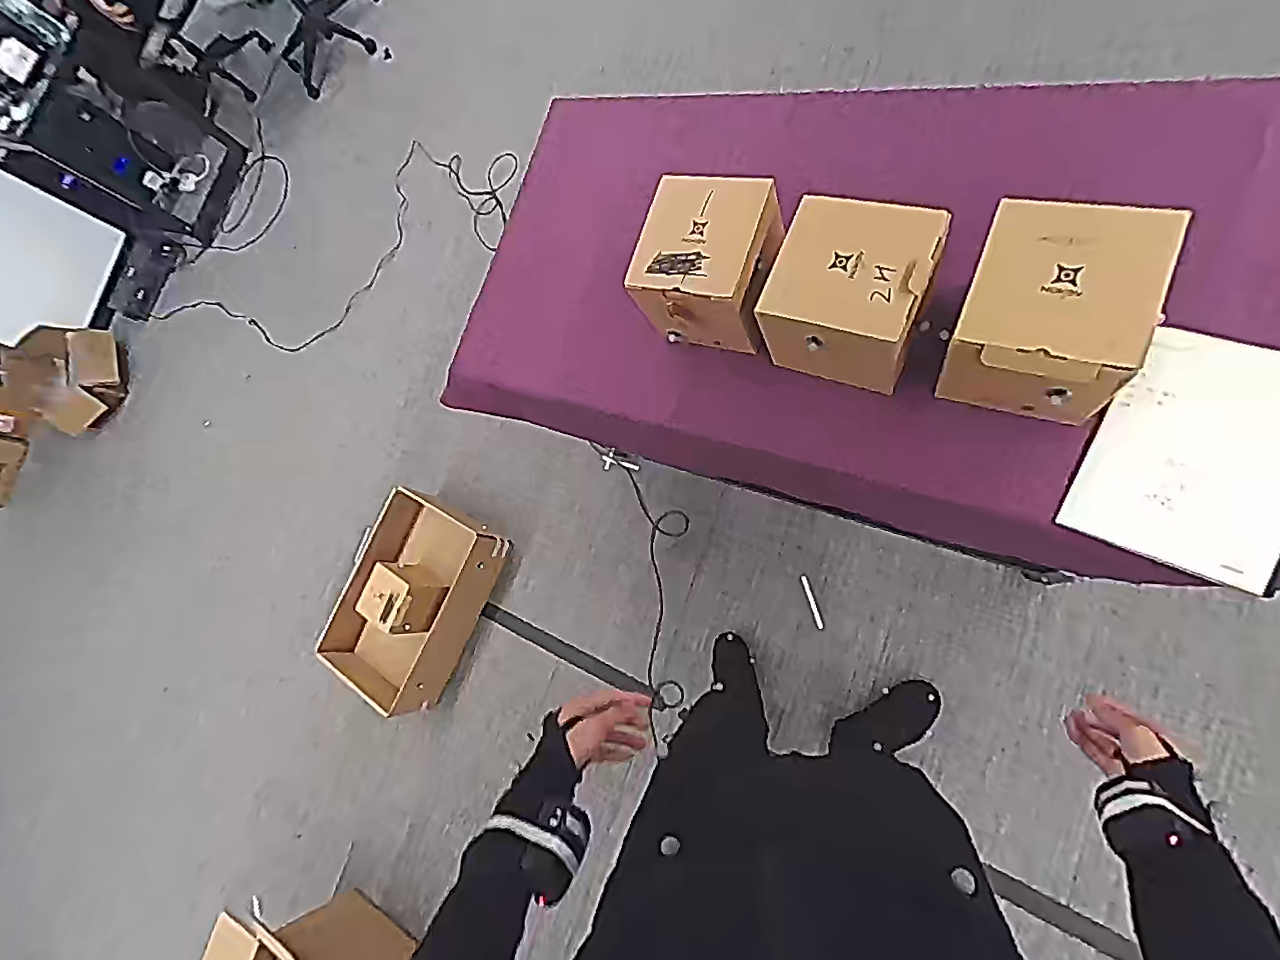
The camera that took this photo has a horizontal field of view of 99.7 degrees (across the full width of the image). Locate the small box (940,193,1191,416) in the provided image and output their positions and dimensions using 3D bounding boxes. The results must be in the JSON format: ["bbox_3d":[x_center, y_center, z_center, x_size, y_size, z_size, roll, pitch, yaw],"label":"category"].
[{"bbox_3d":[0.461,-0.191,0.621,0.168,0.176,0.179,19,85,25],"label":"small box"}]
